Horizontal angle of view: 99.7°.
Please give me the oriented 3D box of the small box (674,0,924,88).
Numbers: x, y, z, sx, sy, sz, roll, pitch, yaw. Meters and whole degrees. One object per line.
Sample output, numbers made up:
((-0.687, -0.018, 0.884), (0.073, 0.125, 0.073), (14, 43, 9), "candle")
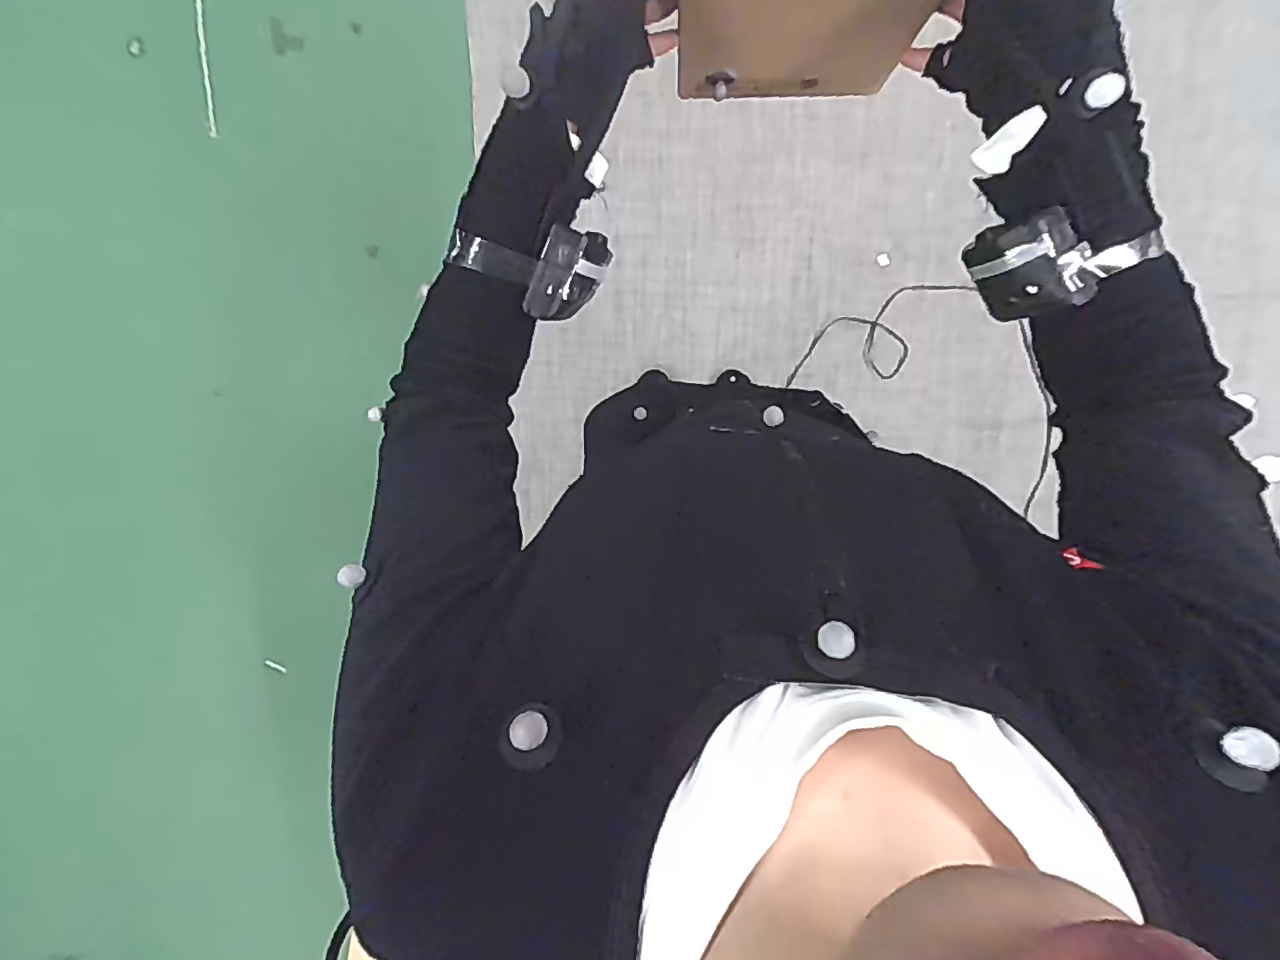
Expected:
((0.107, -0.388, 0.352), (0.168, 0.176, 0.179), (1, 99, 3), "small box")
